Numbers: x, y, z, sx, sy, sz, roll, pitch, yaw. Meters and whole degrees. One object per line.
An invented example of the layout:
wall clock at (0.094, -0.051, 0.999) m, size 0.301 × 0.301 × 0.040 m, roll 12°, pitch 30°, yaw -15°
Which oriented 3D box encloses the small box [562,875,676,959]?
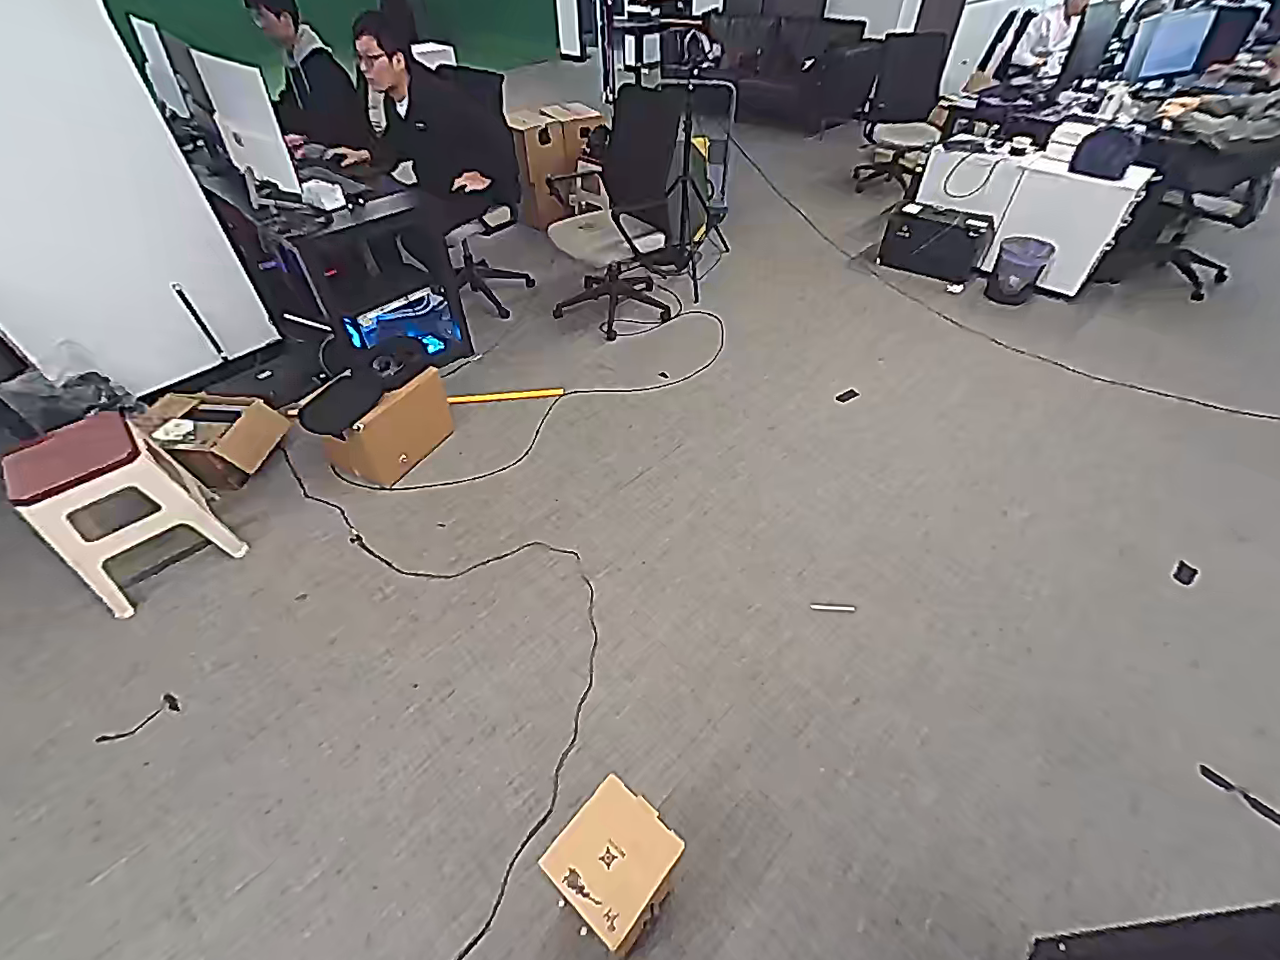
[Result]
small box at (-0.043, 0.874, 1.146) m, size 0.168 × 0.176 × 0.179 m, roll 31°, pitch 54°, yaw 28°

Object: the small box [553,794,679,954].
small box at (-0.041, 0.756, 1.035) m, size 0.168 × 0.176 × 0.179 m, roll 29°, pitch 51°, yaw 25°
